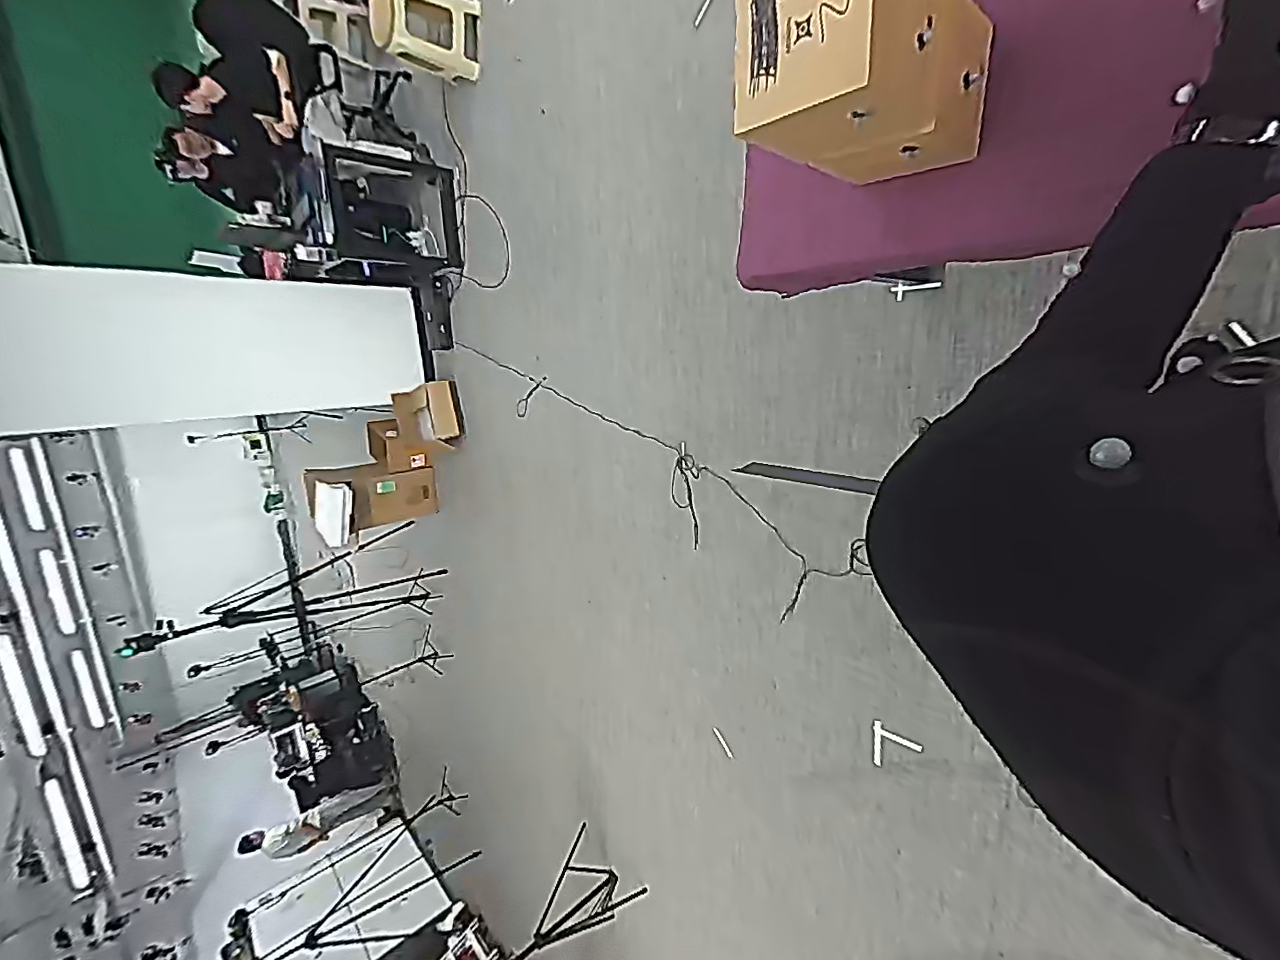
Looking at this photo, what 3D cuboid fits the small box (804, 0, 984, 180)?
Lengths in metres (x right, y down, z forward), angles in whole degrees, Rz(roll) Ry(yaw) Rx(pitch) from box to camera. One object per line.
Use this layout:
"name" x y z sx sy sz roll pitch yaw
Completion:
"small box" 0.354 -0.538 0.755 0.179 0.176 0.168 15 111 45
